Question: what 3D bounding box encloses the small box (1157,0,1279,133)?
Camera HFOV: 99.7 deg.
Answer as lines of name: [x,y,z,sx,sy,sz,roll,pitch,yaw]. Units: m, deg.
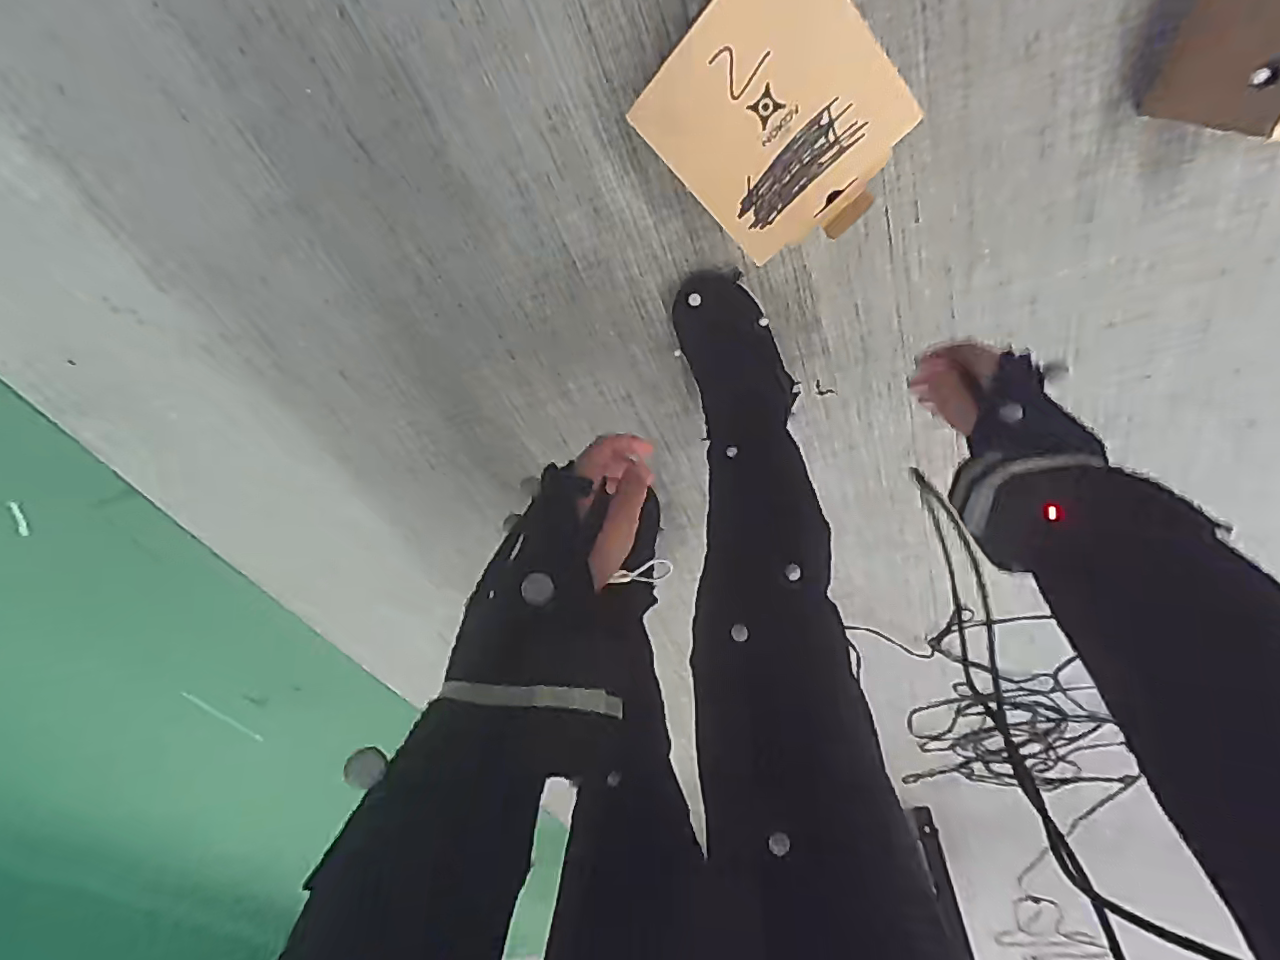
small box: [0.568,-0.376,0.411,0.168,0.176,0.179,1,130,5]
